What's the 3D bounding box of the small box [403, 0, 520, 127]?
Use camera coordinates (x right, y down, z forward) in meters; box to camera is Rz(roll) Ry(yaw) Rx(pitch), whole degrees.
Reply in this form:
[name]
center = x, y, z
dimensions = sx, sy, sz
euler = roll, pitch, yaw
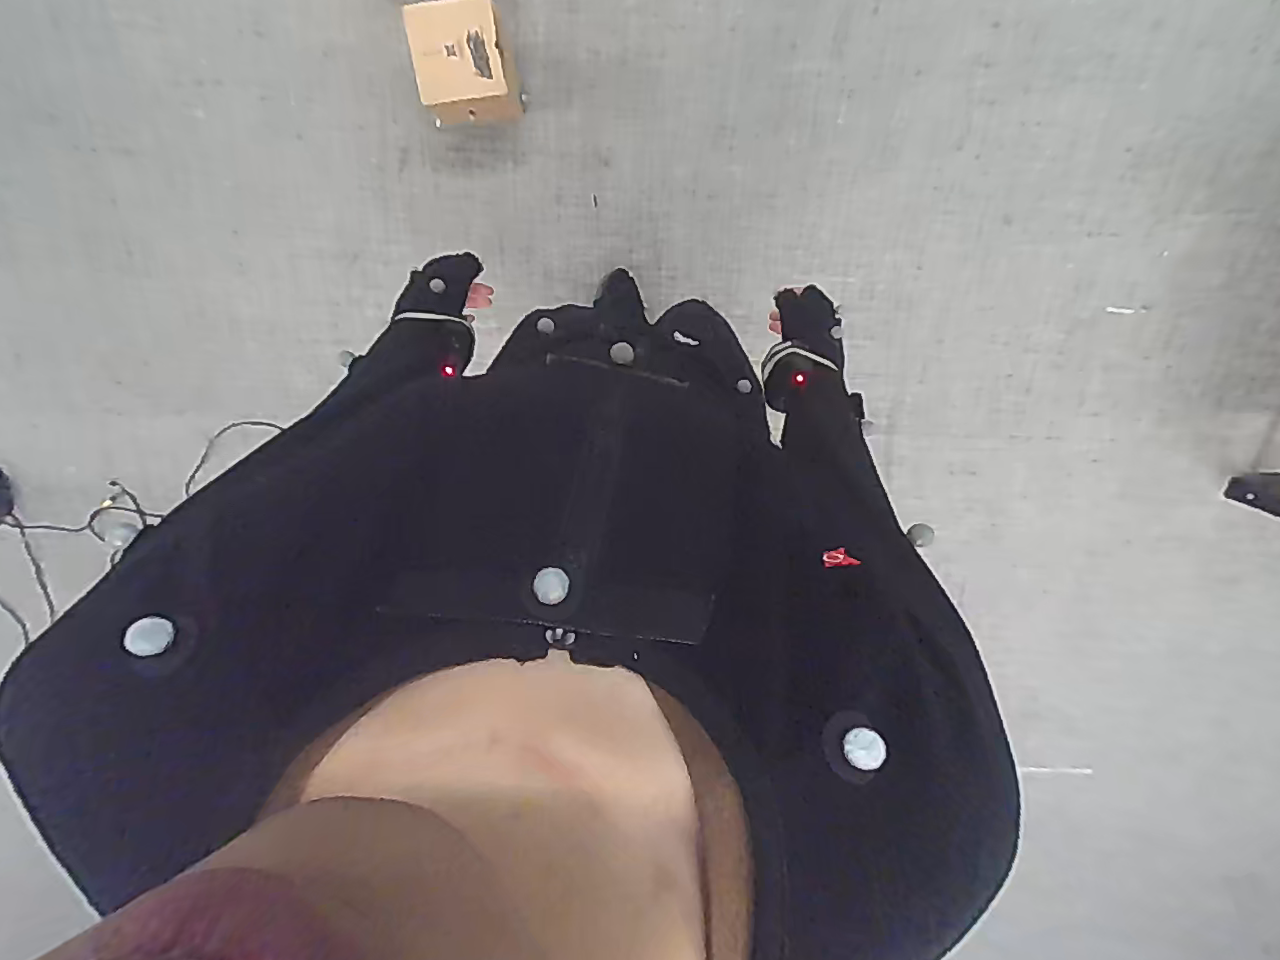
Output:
[small box]
center = -0.354, -0.853, 1.116
dimensions = 0.179, 0.176, 0.168
euler = -6, 109, 3
